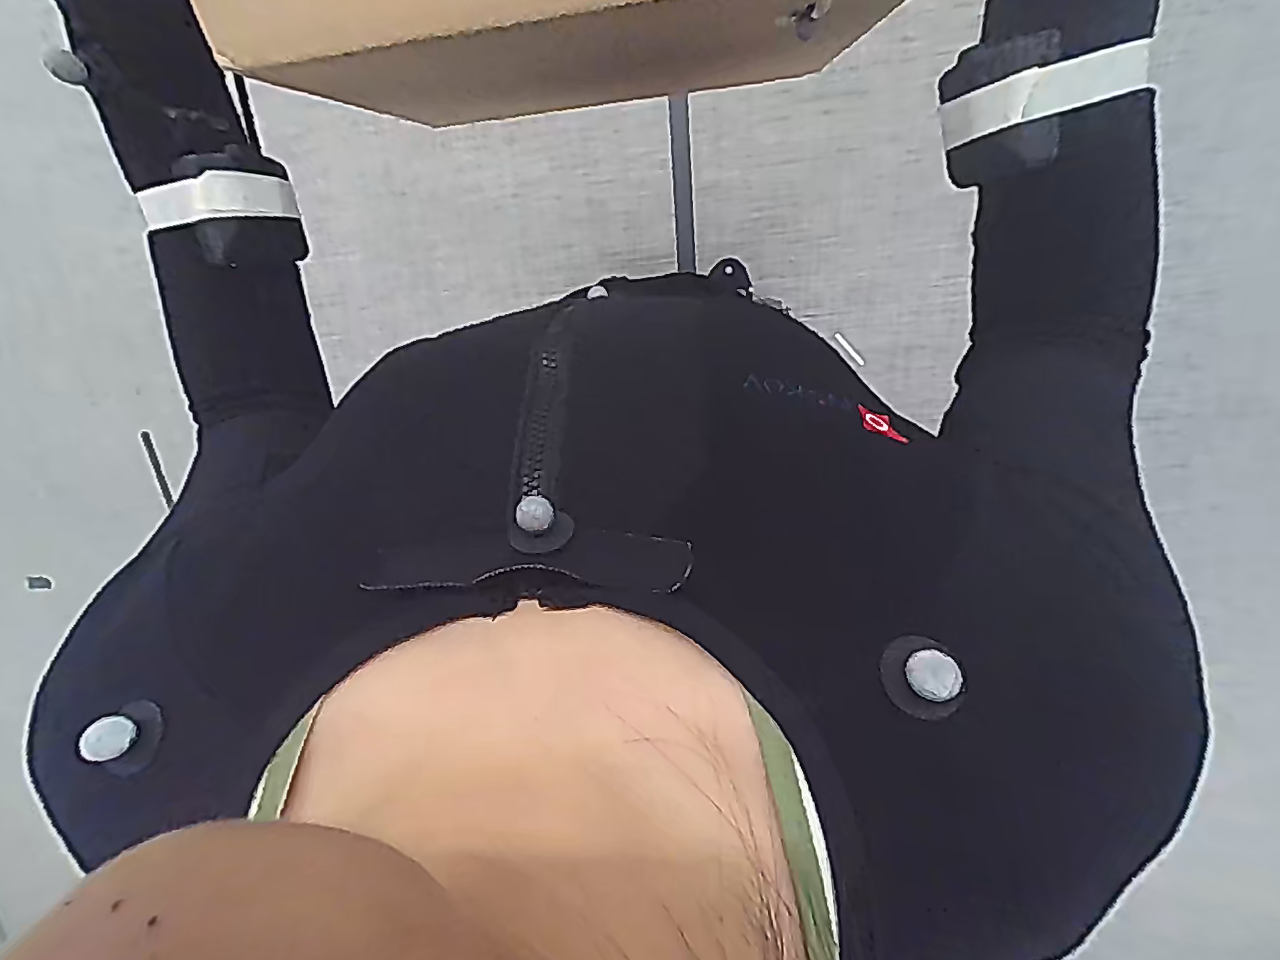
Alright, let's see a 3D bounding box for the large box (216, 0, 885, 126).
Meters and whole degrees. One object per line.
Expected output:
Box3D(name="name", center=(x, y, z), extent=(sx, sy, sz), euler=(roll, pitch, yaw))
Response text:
Box3D(name="large box", center=(-0.045, -0.453, 0.356), extent=(0.408, 0.320, 0.320), euler=(-5, 117, 5))
